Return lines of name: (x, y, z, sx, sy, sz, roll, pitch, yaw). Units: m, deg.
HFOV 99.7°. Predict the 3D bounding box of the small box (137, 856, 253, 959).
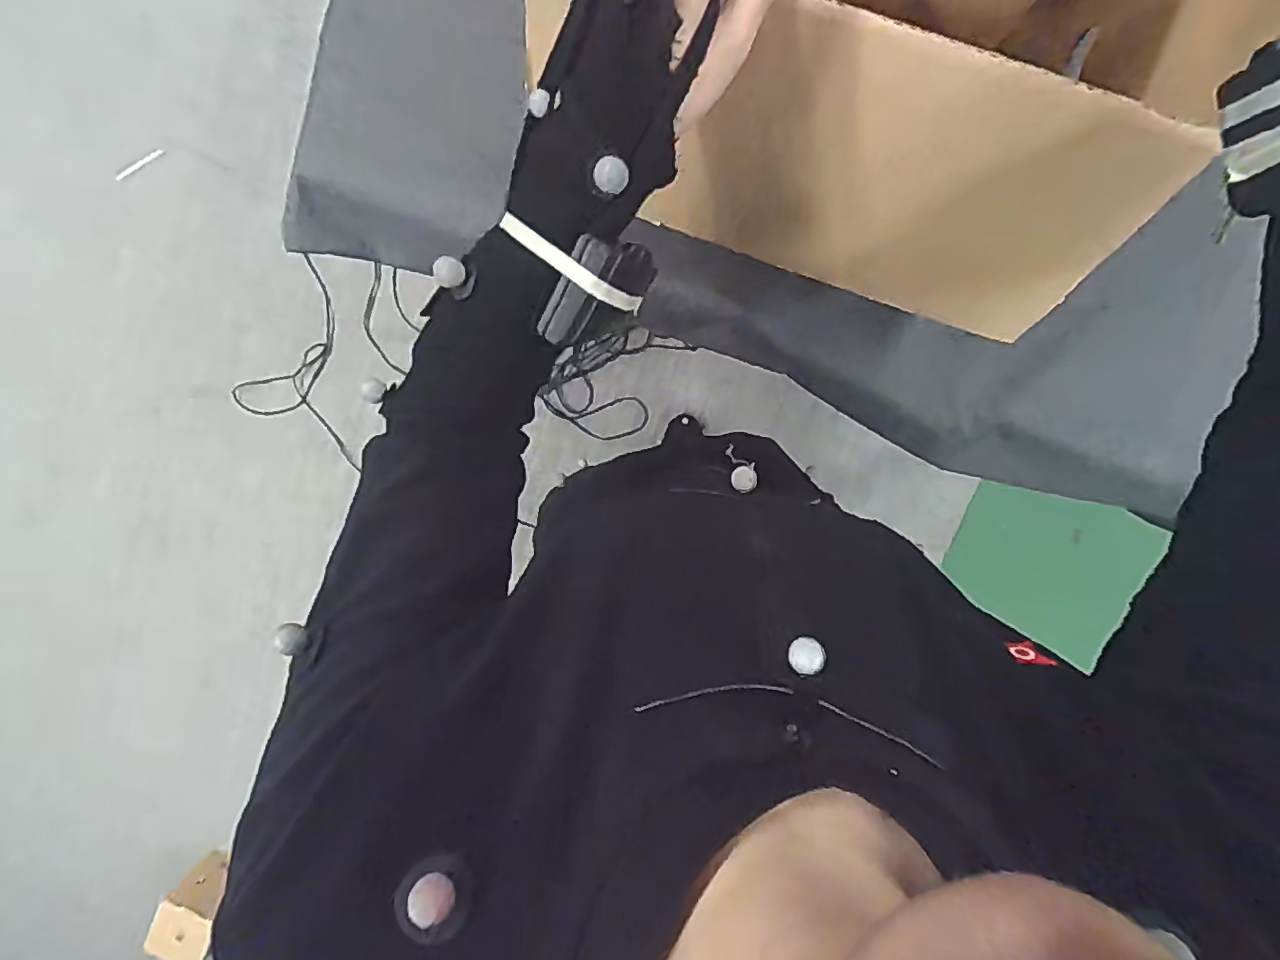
small box: (-1.226, 1.204, 1.504, 0.168, 0.176, 0.179, 24, 99, 1)
